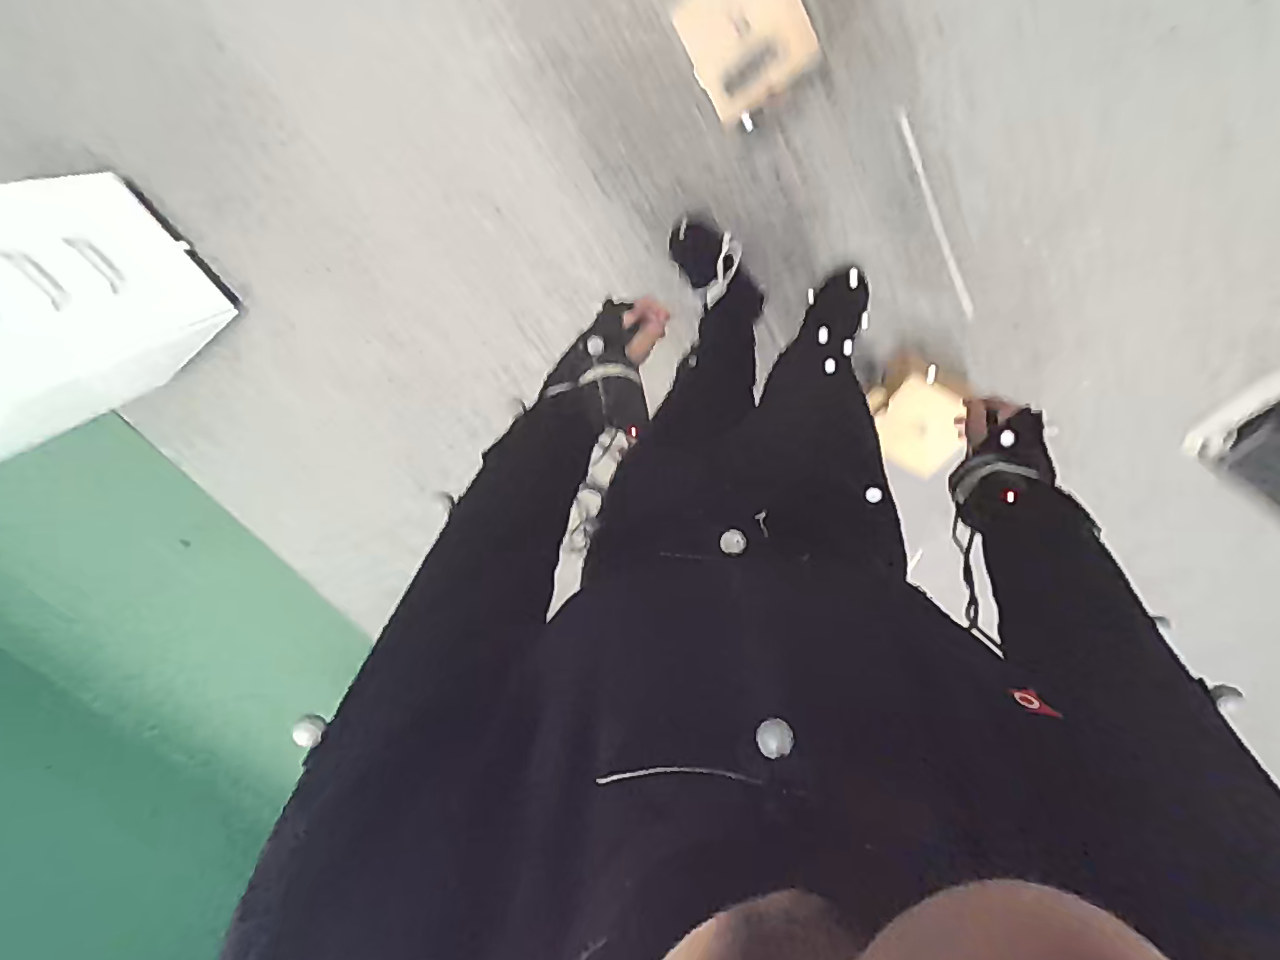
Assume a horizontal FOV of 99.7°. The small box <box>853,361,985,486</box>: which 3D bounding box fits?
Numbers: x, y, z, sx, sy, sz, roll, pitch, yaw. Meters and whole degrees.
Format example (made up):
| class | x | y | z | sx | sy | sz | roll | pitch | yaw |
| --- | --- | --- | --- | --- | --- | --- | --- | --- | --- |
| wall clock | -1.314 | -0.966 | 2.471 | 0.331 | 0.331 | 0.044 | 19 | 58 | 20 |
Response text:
| class | x | y | z | sx | sy | sz | roll | pitch | yaw |
| --- | --- | --- | --- | --- | --- | --- | --- | --- | --- |
| small box | 0.575 | -0.125 | 1.139 | 0.179 | 0.176 | 0.168 | 29 | 127 | -3 |
